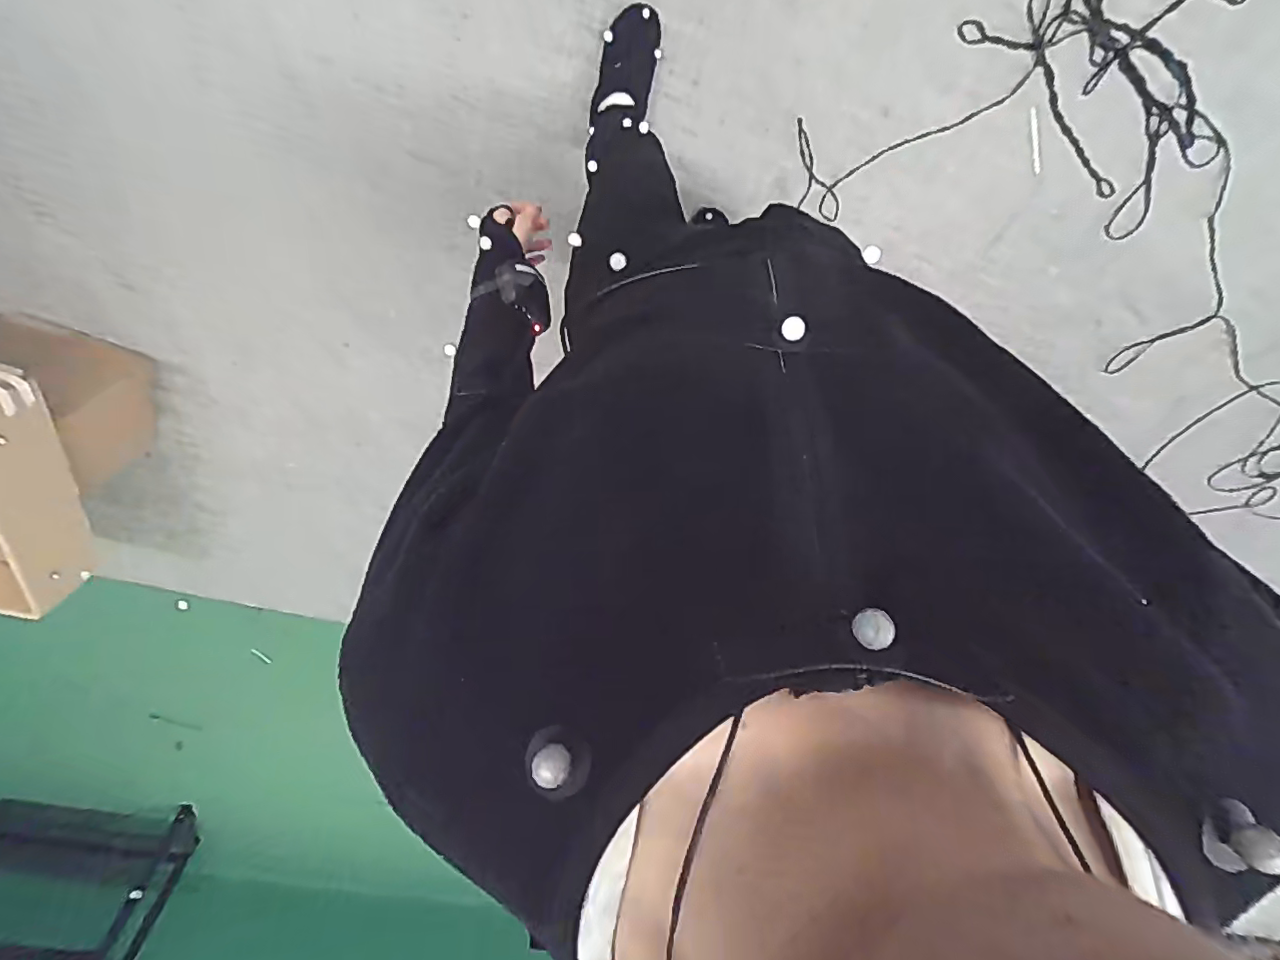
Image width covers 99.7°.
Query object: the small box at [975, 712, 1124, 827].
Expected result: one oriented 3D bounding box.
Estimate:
[{"bbox_3d":[0.920,0.659,1.238,0.179,0.176,0.168,18,126,-12],"label":"small box"}]
